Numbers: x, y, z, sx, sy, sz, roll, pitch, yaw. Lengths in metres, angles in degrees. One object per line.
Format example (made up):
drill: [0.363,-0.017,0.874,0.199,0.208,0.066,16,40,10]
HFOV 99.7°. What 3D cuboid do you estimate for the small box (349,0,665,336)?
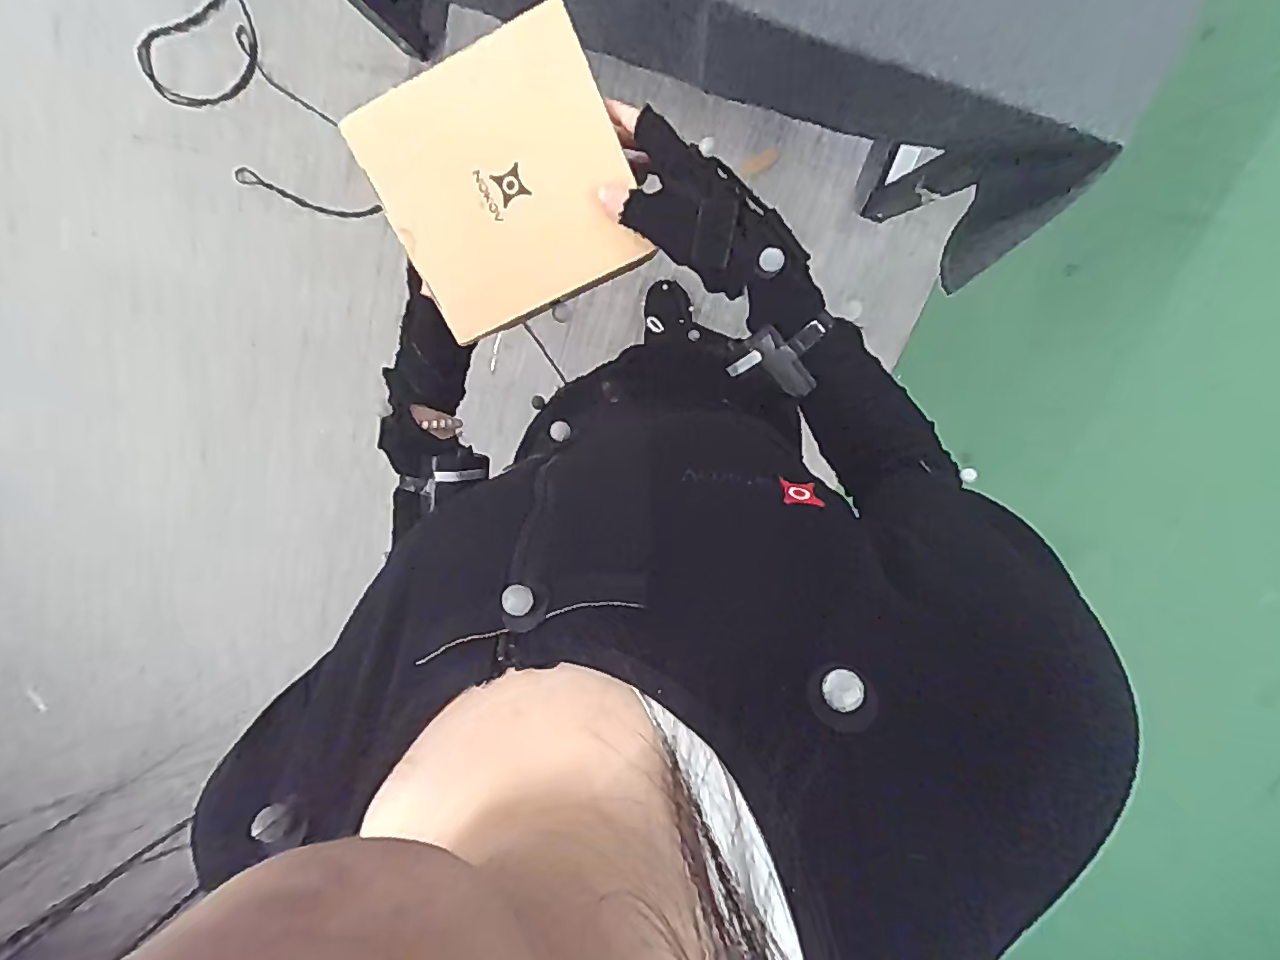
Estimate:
small box: [-0.093,-0.243,0.461,0.179,0.176,0.168,-23,109,8]
